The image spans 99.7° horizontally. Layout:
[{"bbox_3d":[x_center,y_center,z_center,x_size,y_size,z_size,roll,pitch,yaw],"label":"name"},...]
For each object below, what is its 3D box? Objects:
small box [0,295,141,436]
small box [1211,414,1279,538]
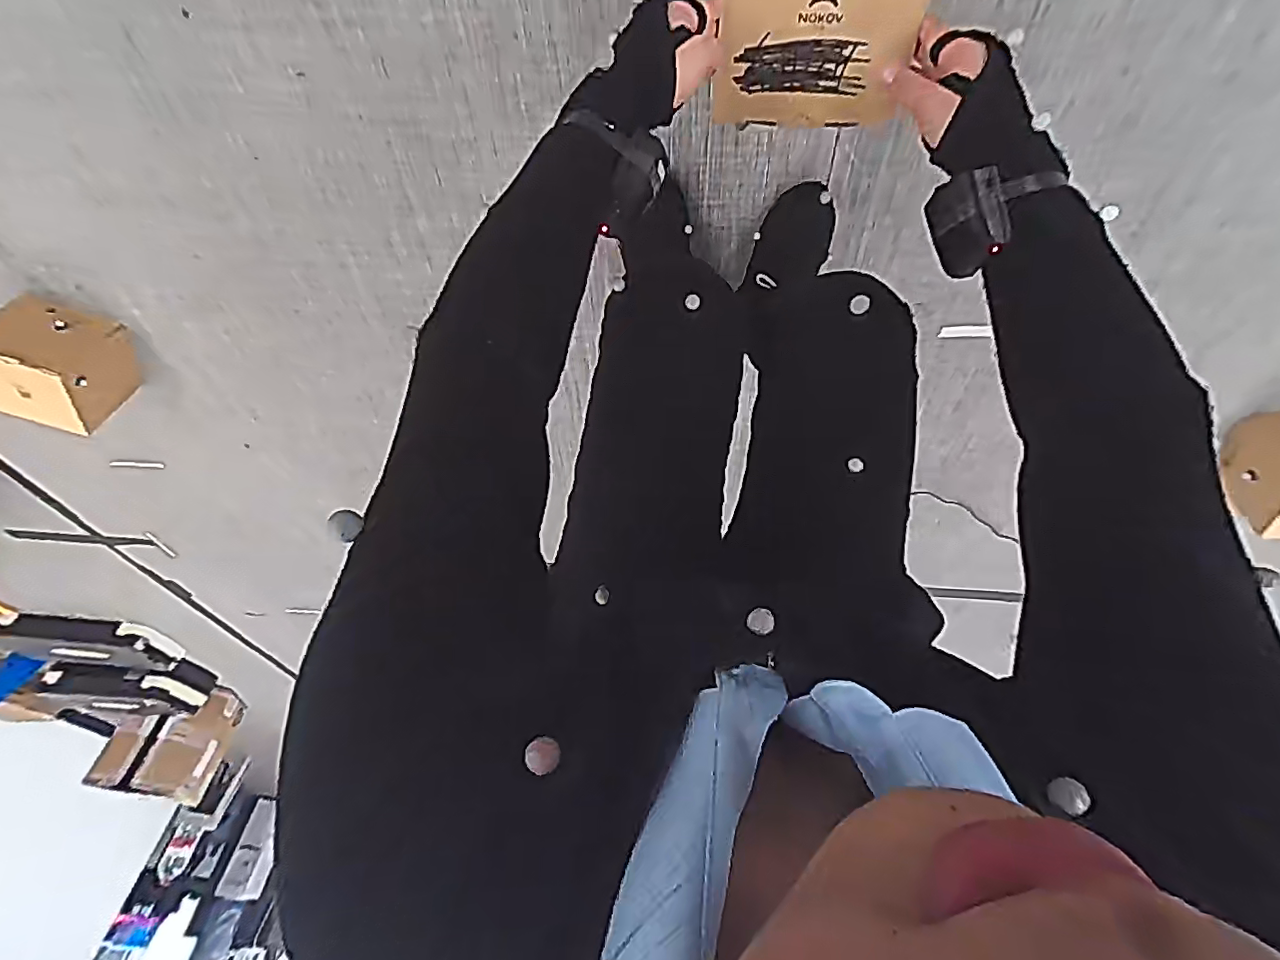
[{"bbox_3d":[-1.143,-0.225,1.064,0.168,0.176,0.179,19,137,-14],"label":"small box"},{"bbox_3d":[1.235,-0.016,1.000,0.179,0.176,0.168,-9,136,16],"label":"small box"}]
